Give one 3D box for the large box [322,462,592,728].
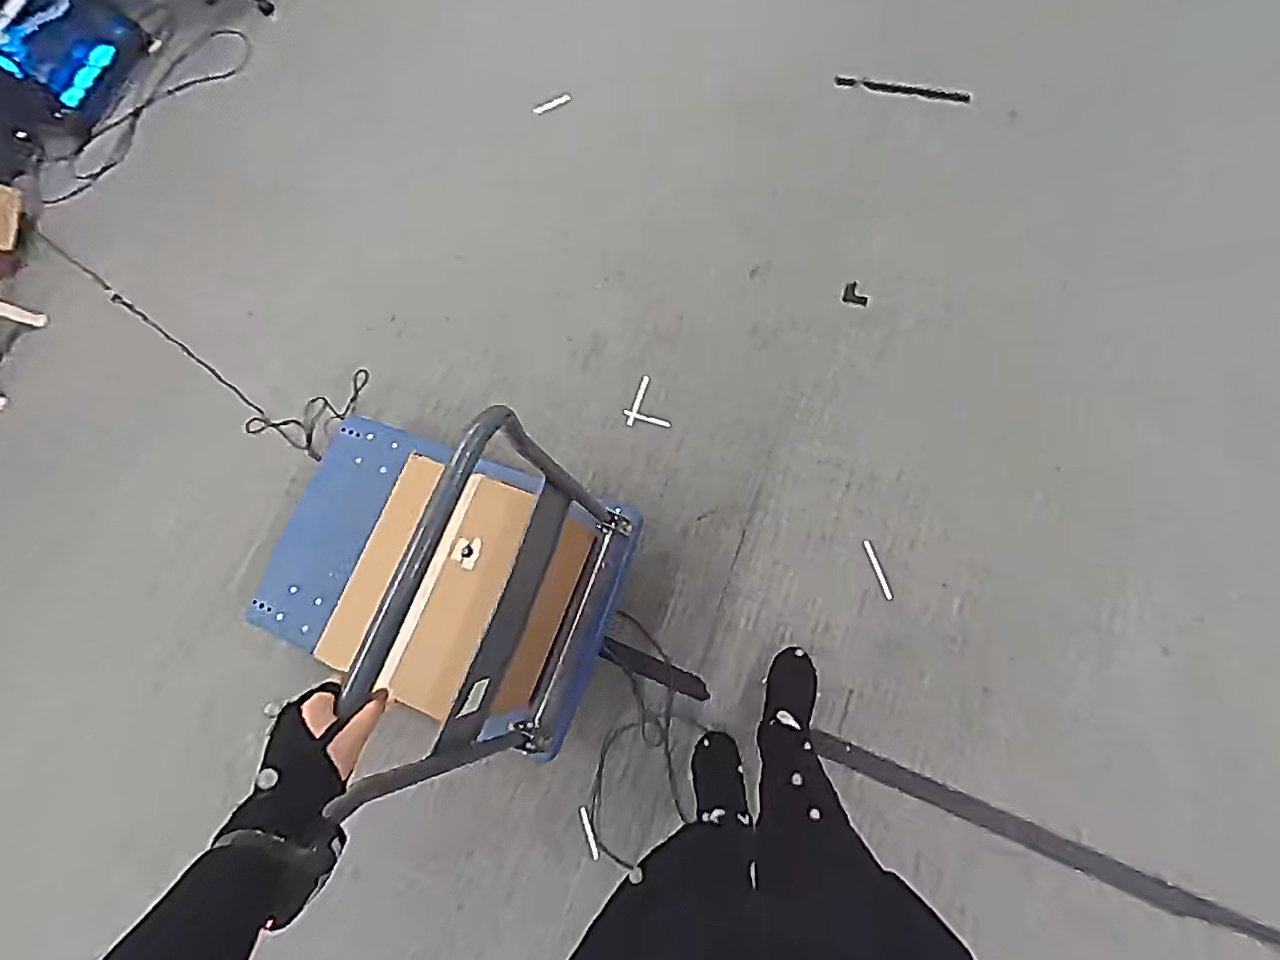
[{"bbox_3d":[-0.338,0.232,1.106,0.320,0.320,0.408,18,76,14],"label":"large box"}]
